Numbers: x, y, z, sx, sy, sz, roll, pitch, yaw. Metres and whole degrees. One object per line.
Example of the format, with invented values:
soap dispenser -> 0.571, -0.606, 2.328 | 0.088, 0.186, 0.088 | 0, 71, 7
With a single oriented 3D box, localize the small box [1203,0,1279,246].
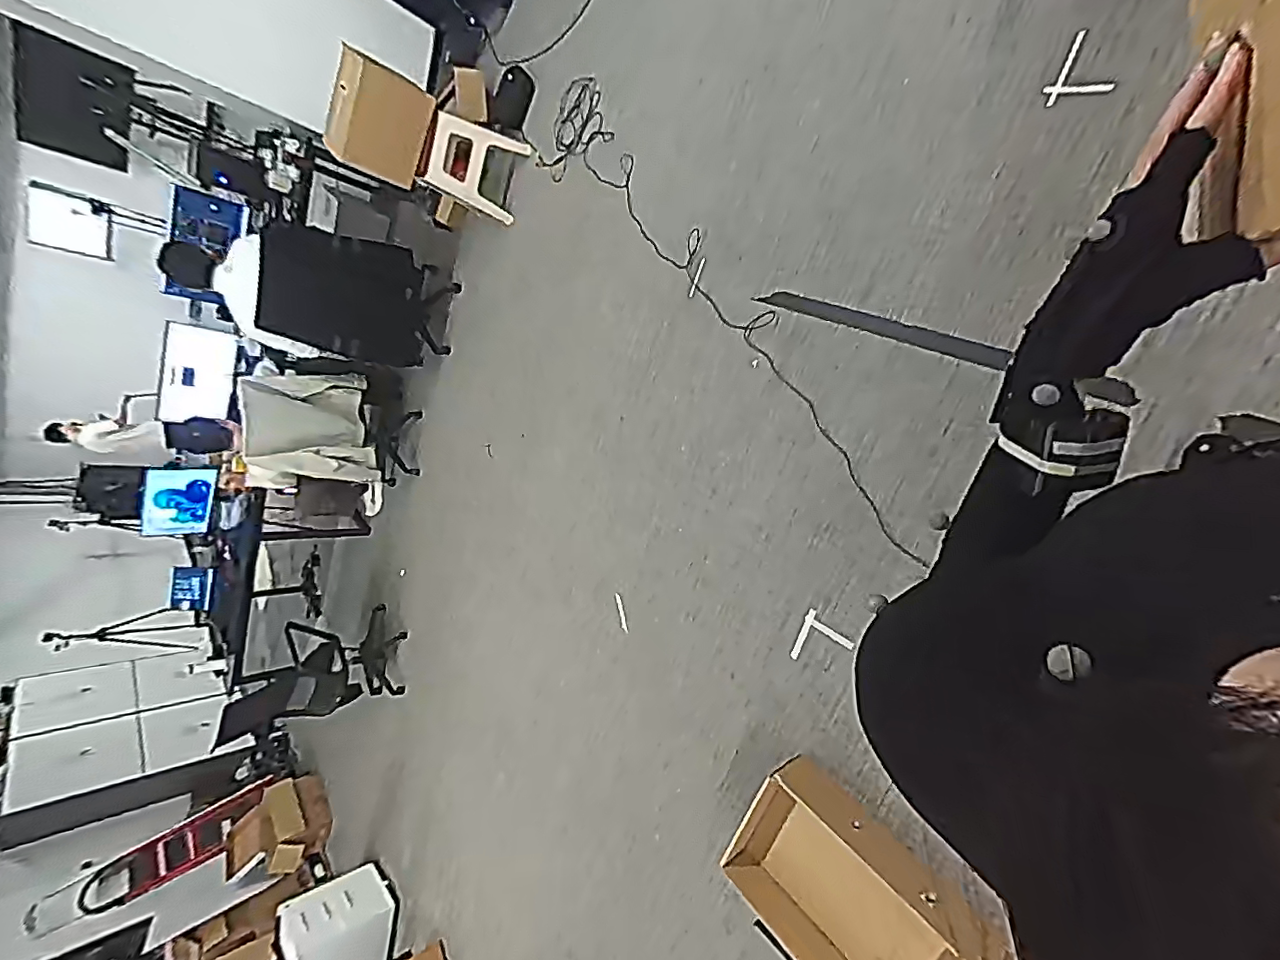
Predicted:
small box -> 0.407, -0.235, 0.263 | 0.168, 0.176, 0.179 | -4, 100, 39
